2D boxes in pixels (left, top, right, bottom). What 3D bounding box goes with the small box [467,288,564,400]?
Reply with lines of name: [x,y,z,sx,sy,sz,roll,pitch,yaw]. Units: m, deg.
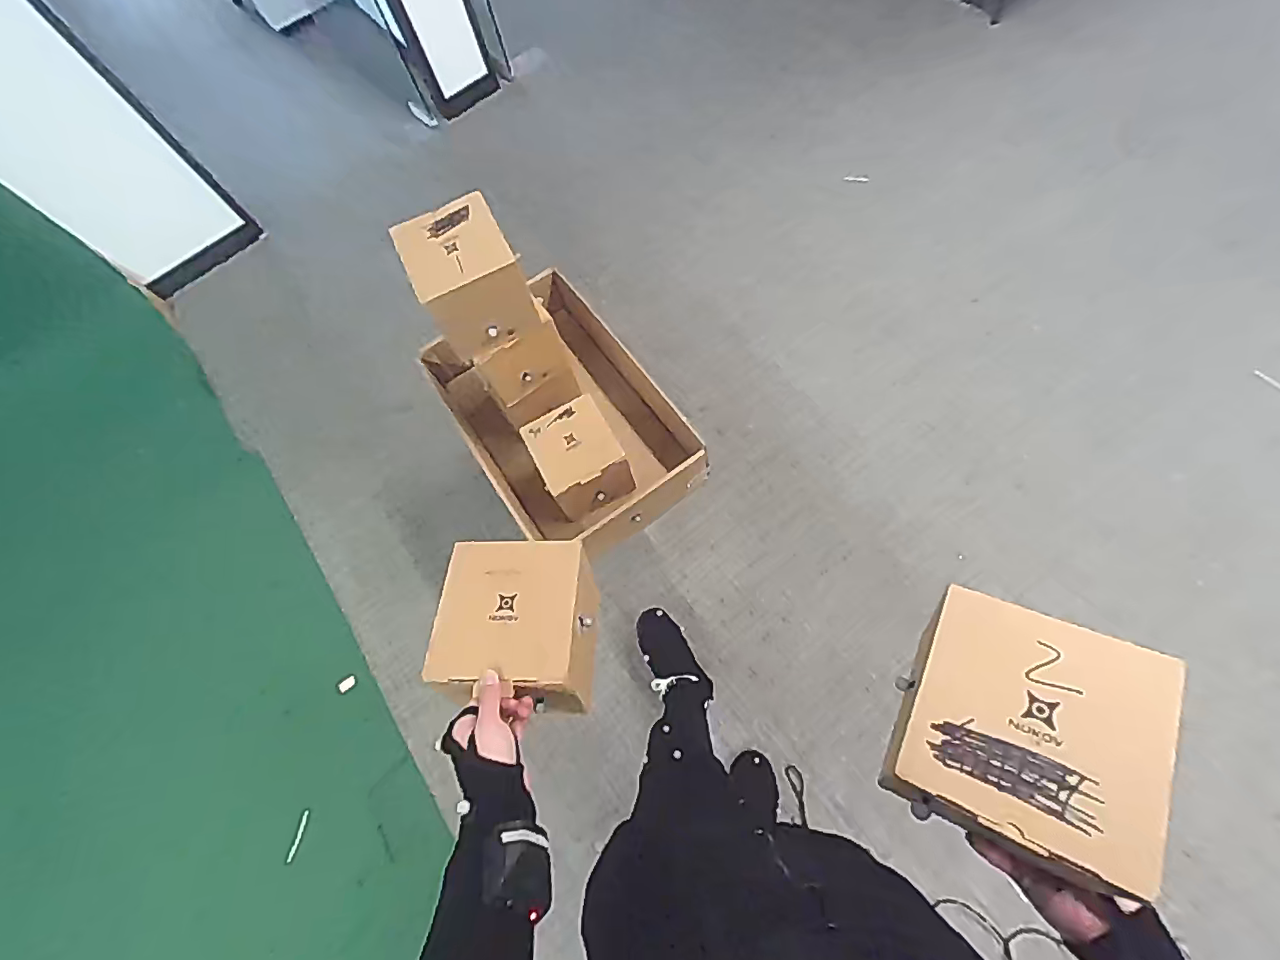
small box: [-0.278,-0.296,1.094,0.168,0.176,0.179,-36,71,-8]

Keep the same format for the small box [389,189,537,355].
small box: [-0.299,-0.354,0.941,0.168,0.176,0.179,-26,71,-4]

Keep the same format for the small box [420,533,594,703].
small box: [-0.157,0.185,0.710,0.168,0.176,0.179,0,55,4]

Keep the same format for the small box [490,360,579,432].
small box: [-0.264,-0.243,1.246,0.168,0.176,0.179,-35,71,-7]
